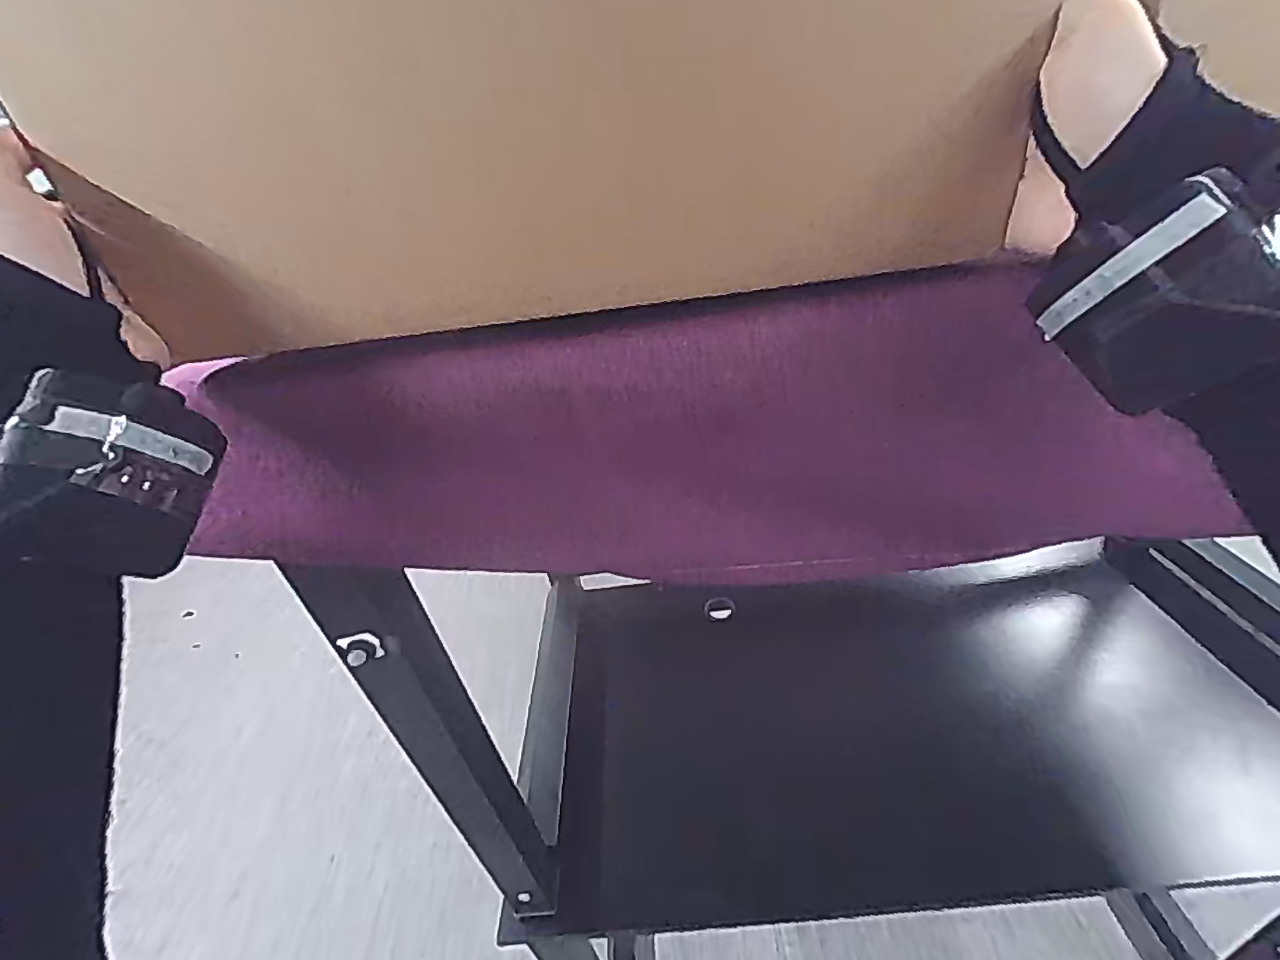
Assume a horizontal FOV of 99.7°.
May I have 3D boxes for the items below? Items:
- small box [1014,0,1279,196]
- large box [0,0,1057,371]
[{"bbox_3d":[0.344,-0.300,0.353,0.179,0.176,0.168,-11,32,-1],"label":"small box"},{"bbox_3d":[-0.054,-0.284,0.297,0.408,0.320,0.320,-8,32,1],"label":"large box"}]
